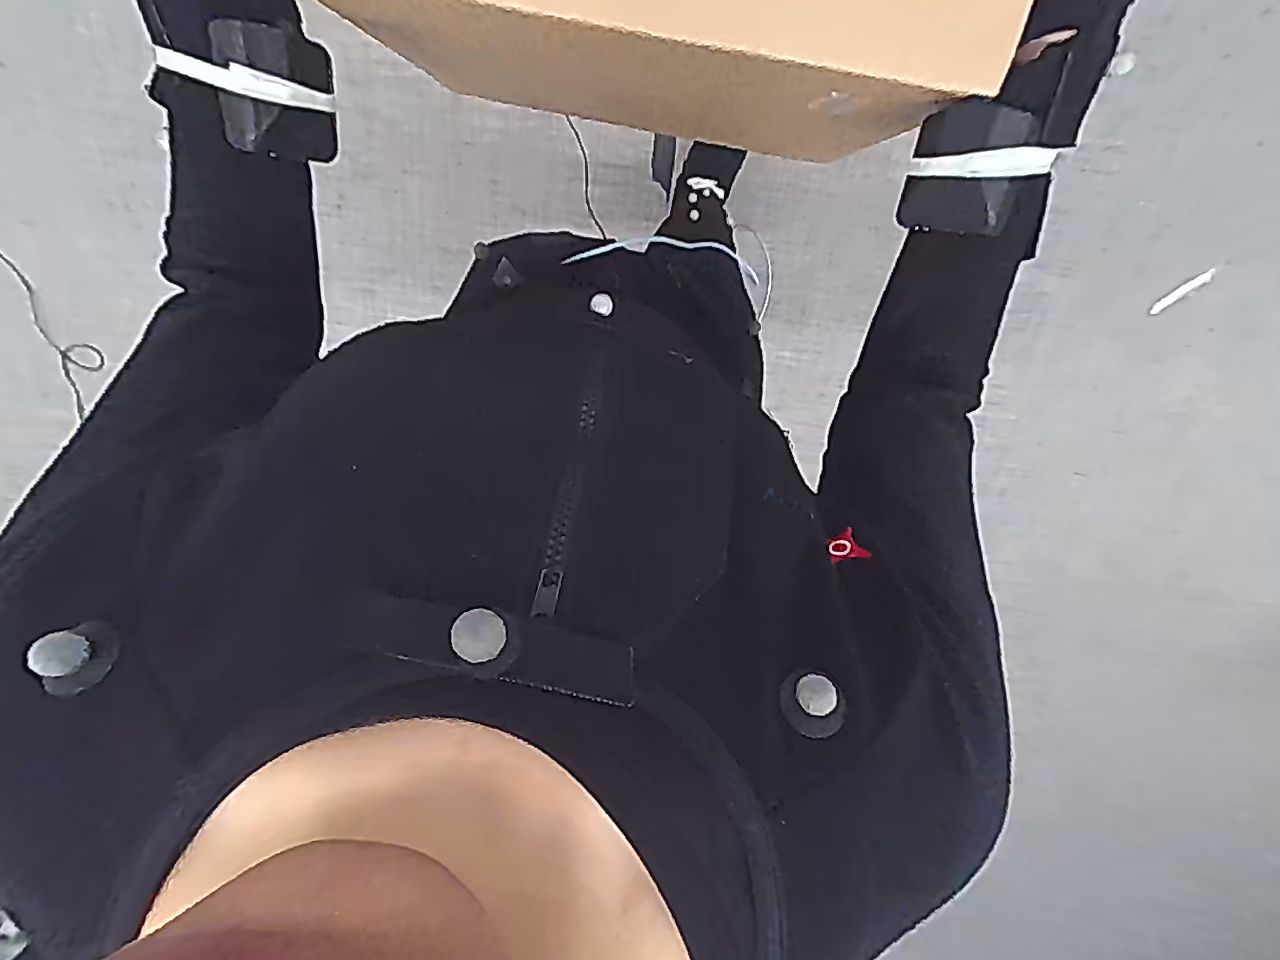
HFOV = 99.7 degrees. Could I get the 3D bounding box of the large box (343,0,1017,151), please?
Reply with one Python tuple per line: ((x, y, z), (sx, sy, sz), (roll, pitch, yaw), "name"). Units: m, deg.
((0.025, -0.449, 0.368), (0.408, 0.320, 0.320), (9, 116, -3), "large box")
